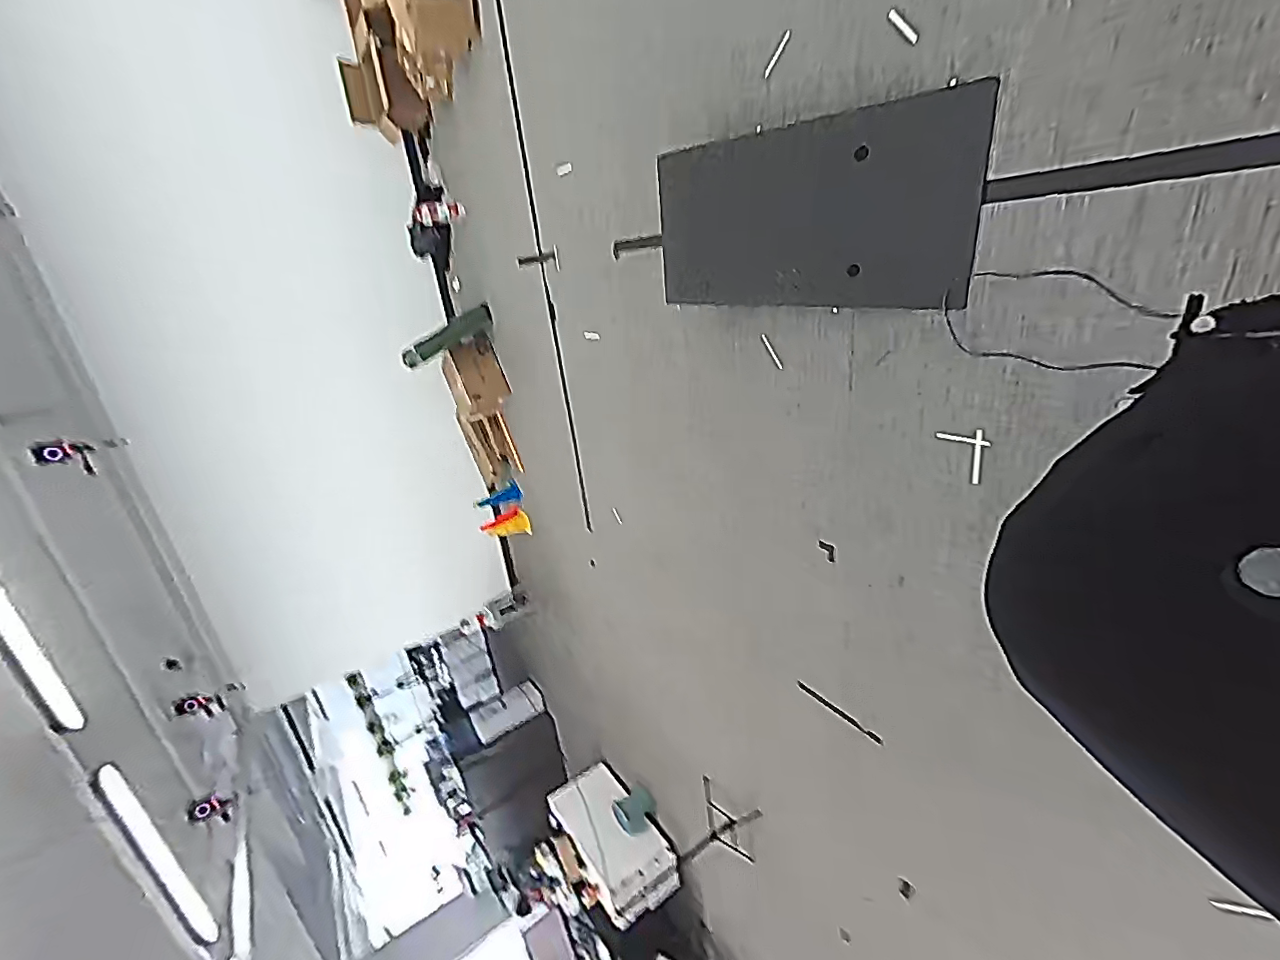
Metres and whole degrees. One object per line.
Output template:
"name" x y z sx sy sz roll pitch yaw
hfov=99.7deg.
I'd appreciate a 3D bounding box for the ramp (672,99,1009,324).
"ramp" 0.484 -0.724 1.610 0.991 0.206 0.509 23 124 52
